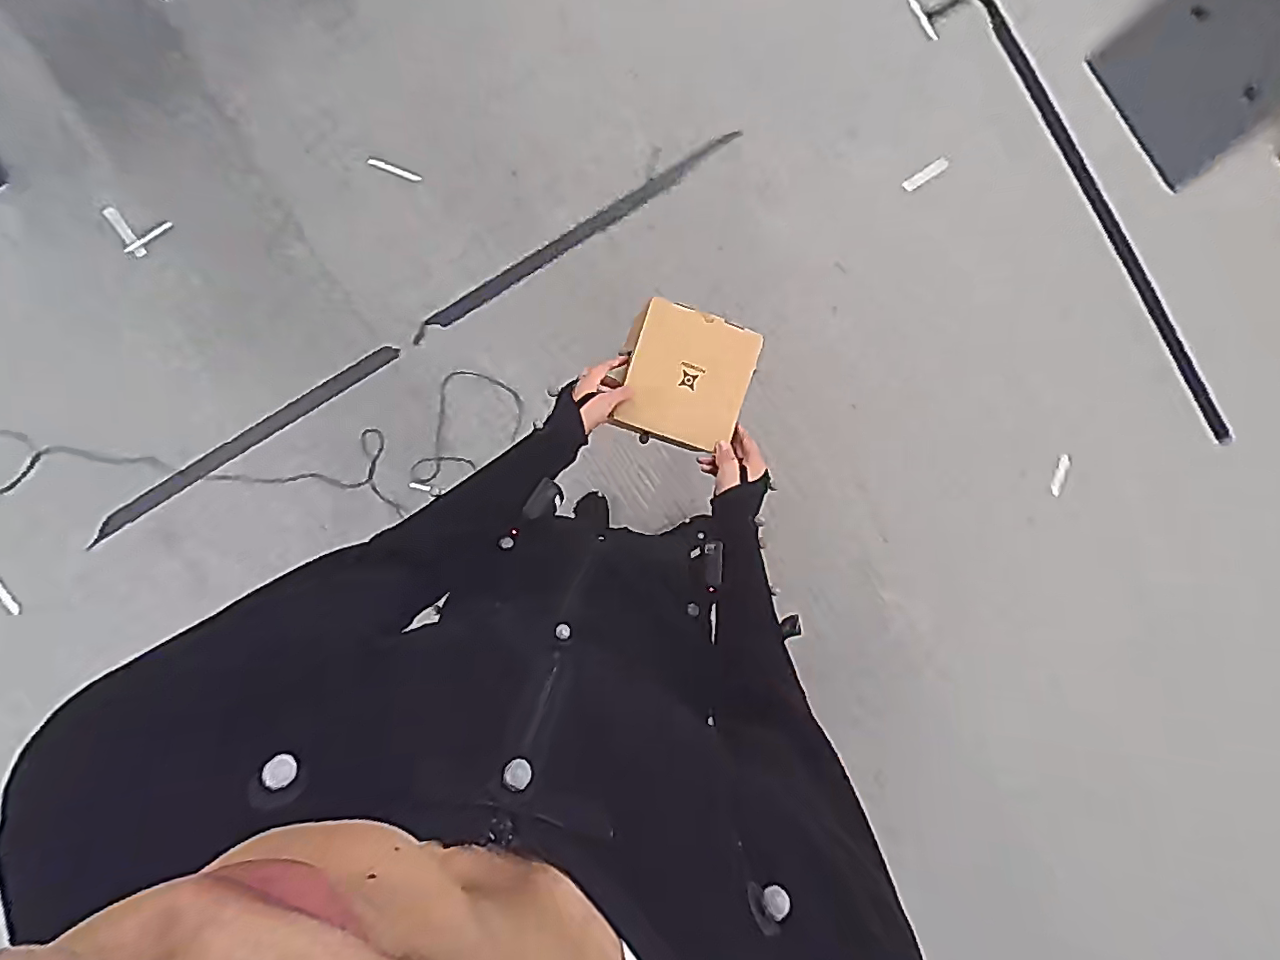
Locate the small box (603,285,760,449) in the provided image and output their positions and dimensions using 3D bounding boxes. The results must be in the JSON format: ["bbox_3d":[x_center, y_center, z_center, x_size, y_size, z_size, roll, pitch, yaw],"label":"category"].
[{"bbox_3d":[0.048,-0.151,0.786,0.168,0.176,0.179,16,91,-10],"label":"small box"}]
